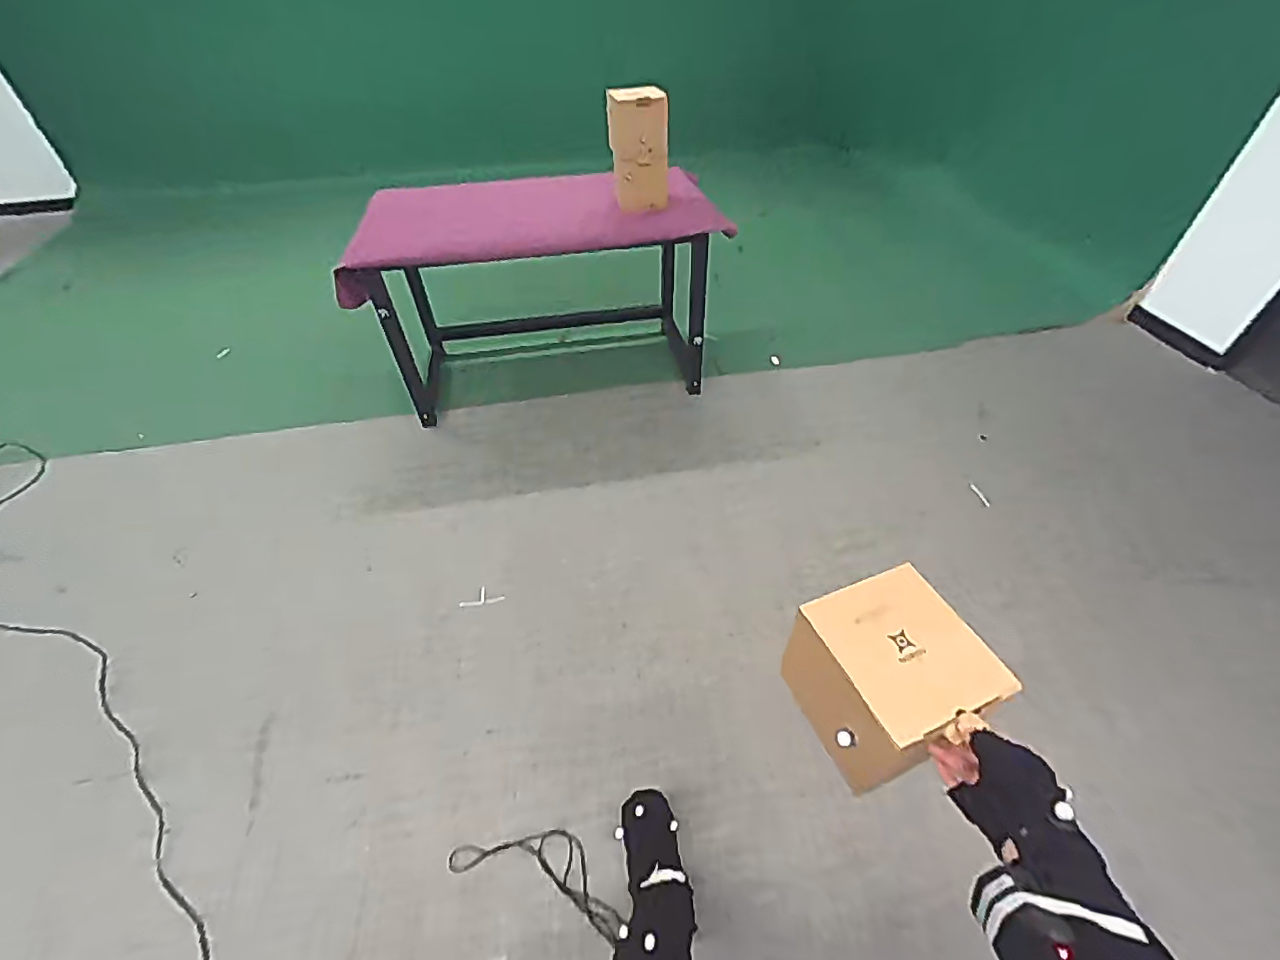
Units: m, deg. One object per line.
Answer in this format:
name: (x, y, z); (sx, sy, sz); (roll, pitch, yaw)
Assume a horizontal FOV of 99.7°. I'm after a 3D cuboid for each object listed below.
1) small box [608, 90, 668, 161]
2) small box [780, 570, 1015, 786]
small box: (-0.010, -1.174, 1.792); (0.168, 0.176, 0.179); (-11, 46, -8)
small box: (0.295, 0.247, 0.664); (0.168, 0.176, 0.179); (-16, 47, -14)
